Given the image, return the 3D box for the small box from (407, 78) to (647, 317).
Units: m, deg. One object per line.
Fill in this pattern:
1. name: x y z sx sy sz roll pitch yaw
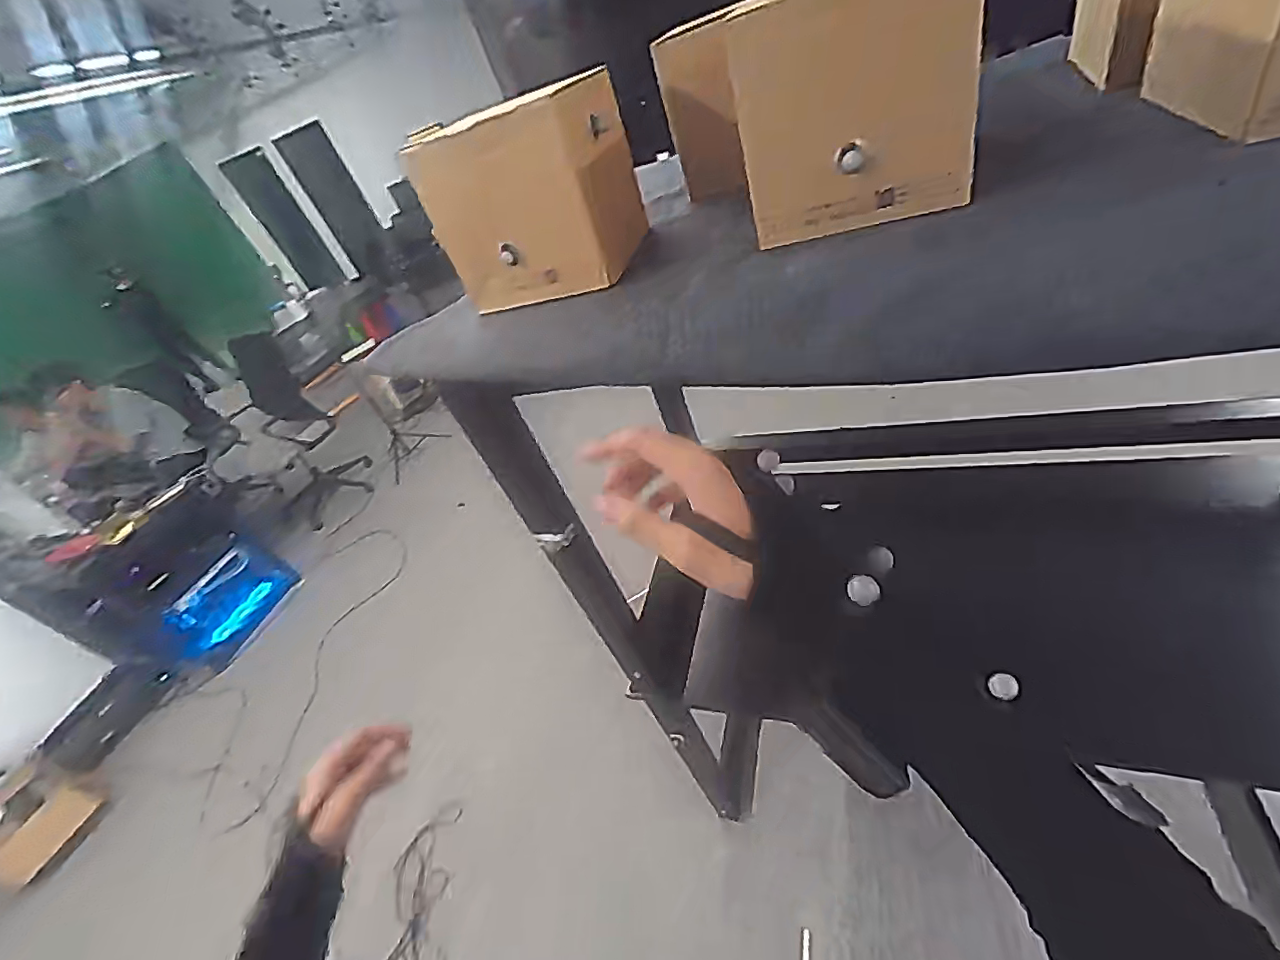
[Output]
1. small box: -0.101 -0.298 0.581 0.168 0.176 0.179 -4 41 21

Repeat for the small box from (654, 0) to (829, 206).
1. small box: 0.136 -0.464 0.661 0.179 0.176 0.168 -4 42 21

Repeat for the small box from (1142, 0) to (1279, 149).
1. small box: 0.474 -0.338 0.347 0.168 0.176 0.179 -4 41 22
